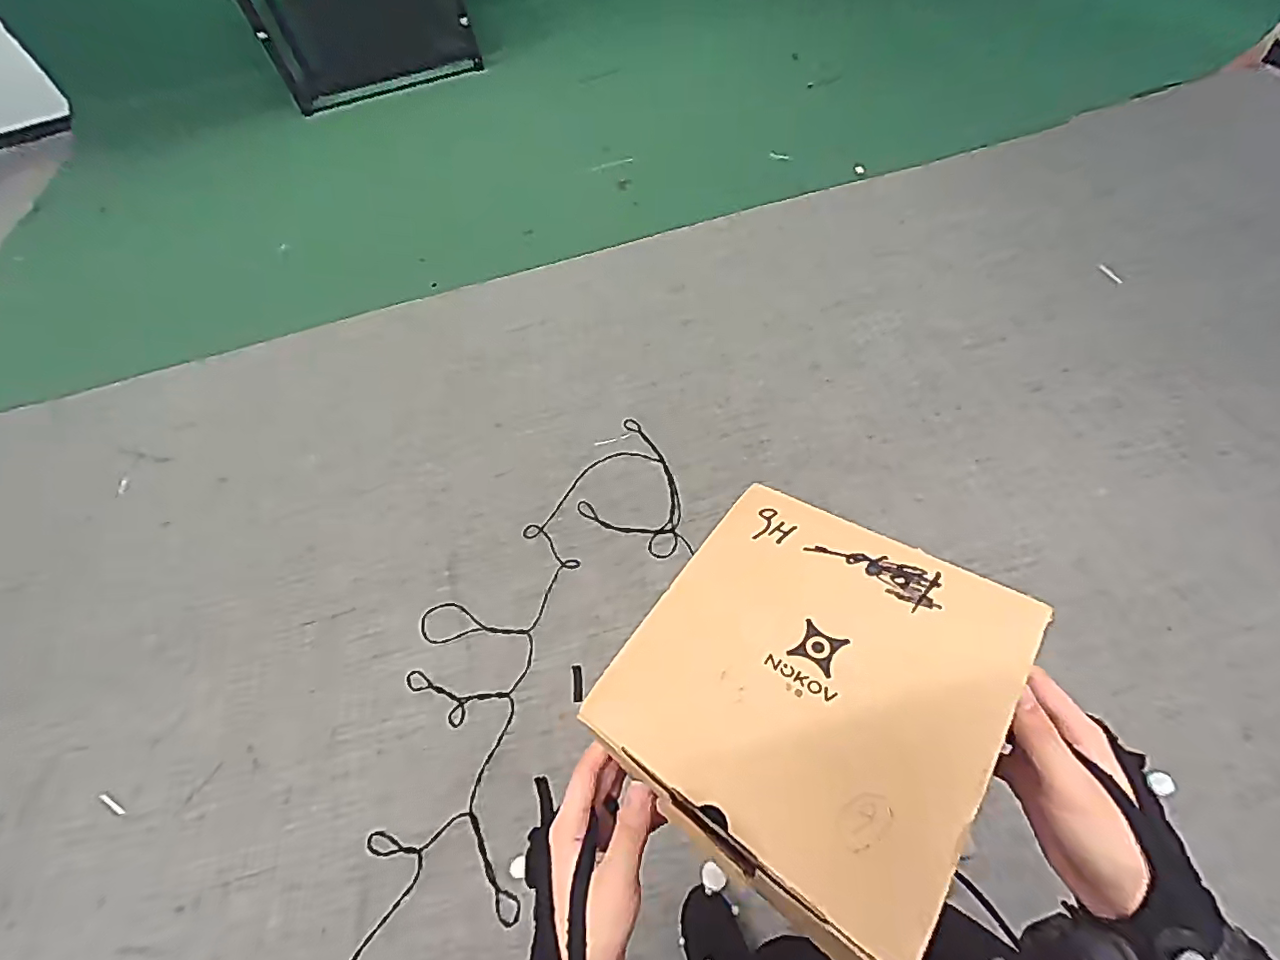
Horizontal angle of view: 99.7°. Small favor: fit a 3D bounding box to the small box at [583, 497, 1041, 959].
[{"bbox_3d":[0.099,0.149,0.329,0.168,0.176,0.179,26,61,32],"label":"small box"}]
